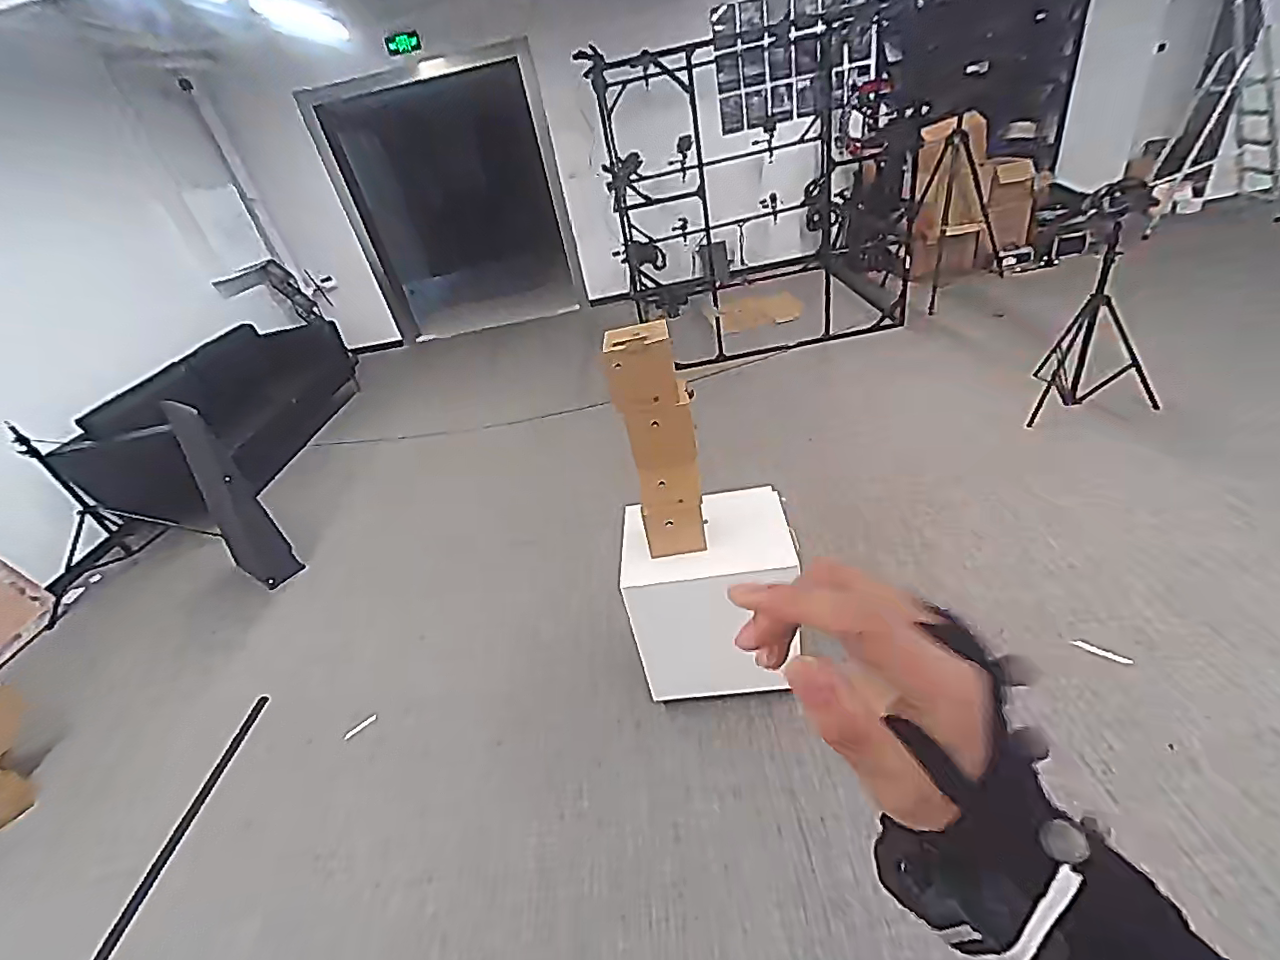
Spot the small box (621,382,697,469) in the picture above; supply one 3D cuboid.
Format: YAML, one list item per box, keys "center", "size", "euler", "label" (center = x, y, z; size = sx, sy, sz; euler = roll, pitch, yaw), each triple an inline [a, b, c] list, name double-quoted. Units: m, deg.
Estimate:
- center: [0.053, -0.146, 1.485]
  size: [0.179, 0.176, 0.168]
  euler: [-9, 33, 5]
  label: "small box"

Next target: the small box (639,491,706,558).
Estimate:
- center: [0.100, 0.122, 1.665]
  size: [0.179, 0.176, 0.168]
  euler: [-9, 33, 4]
  label: "small box"

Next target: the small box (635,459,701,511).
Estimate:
- center: [0.082, -0.021, 1.589]
  size: [0.168, 0.176, 0.179]
  euler: [-9, 32, 6]
  label: "small box"
